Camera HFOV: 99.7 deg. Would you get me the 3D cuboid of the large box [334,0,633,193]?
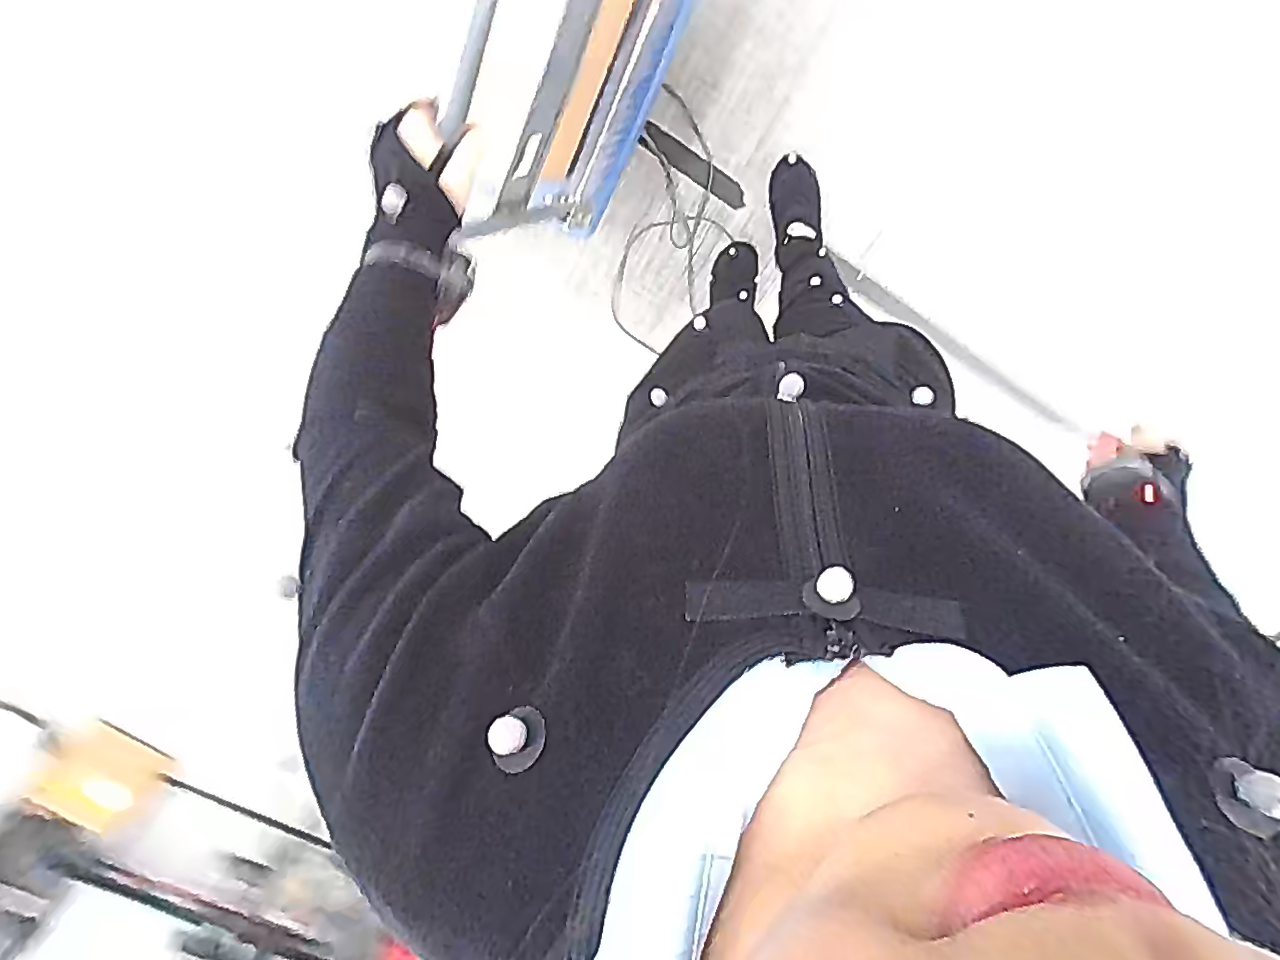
[{"bbox_3d":[-0.223,-0.734,0.861,0.320,0.320,0.408,27,121,-7],"label":"large box"}]
